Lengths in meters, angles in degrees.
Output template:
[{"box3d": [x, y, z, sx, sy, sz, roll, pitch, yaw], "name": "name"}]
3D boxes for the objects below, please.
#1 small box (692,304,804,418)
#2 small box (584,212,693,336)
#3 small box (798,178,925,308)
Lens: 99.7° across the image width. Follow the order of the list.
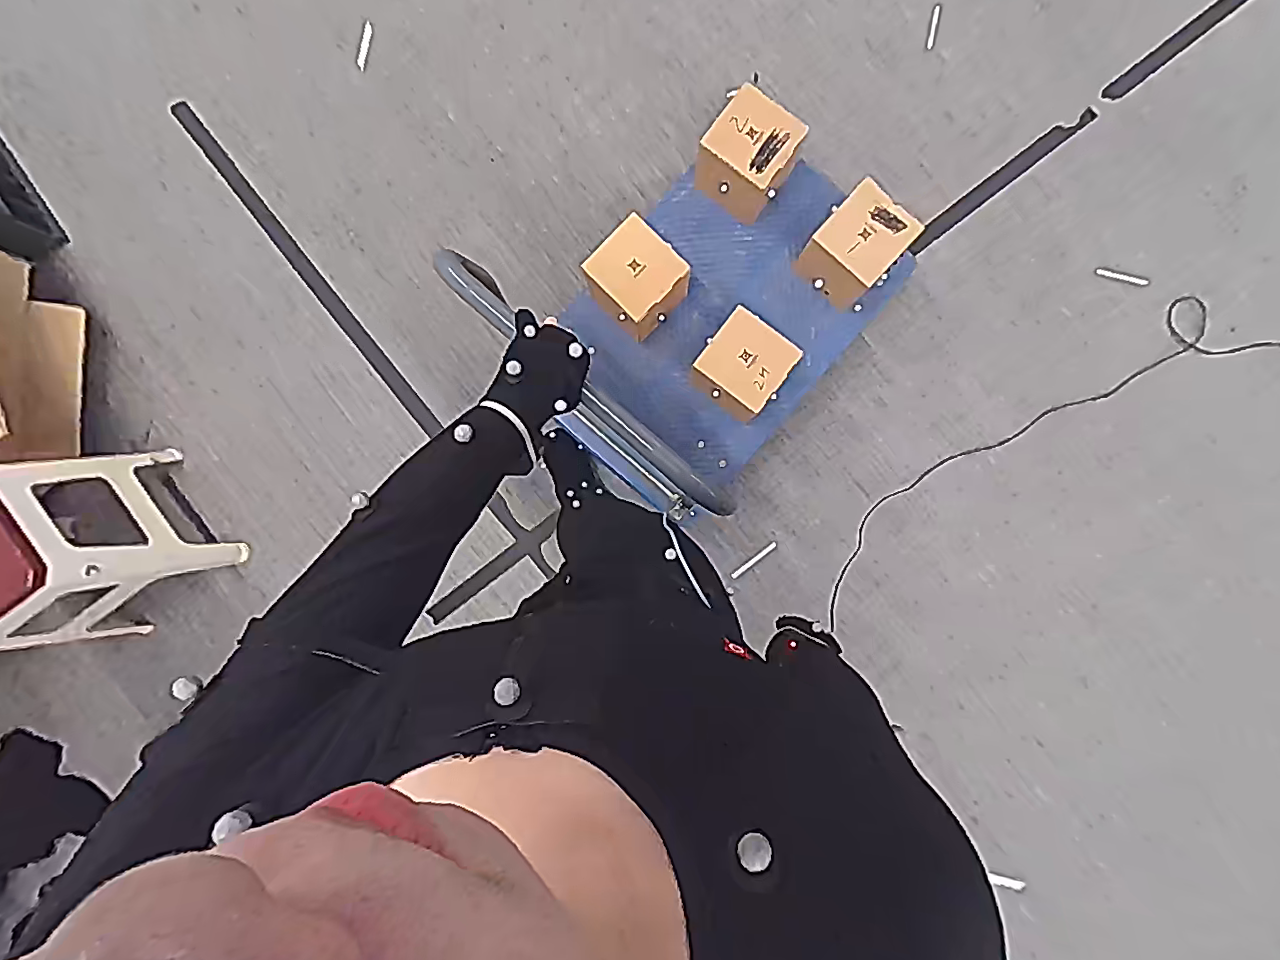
[{"box3d": [0.232, -0.257, 1.222, 0.179, 0.176, 0.168, 38, 90, 2], "name": "small box"}, {"box3d": [-0.004, -0.457, 1.231, 0.179, 0.176, 0.168, 44, 90, 0], "name": "small box"}, {"box3d": [0.486, -0.523, 1.219, 0.168, 0.176, 0.179, 43, 92, 1], "name": "small box"}]
